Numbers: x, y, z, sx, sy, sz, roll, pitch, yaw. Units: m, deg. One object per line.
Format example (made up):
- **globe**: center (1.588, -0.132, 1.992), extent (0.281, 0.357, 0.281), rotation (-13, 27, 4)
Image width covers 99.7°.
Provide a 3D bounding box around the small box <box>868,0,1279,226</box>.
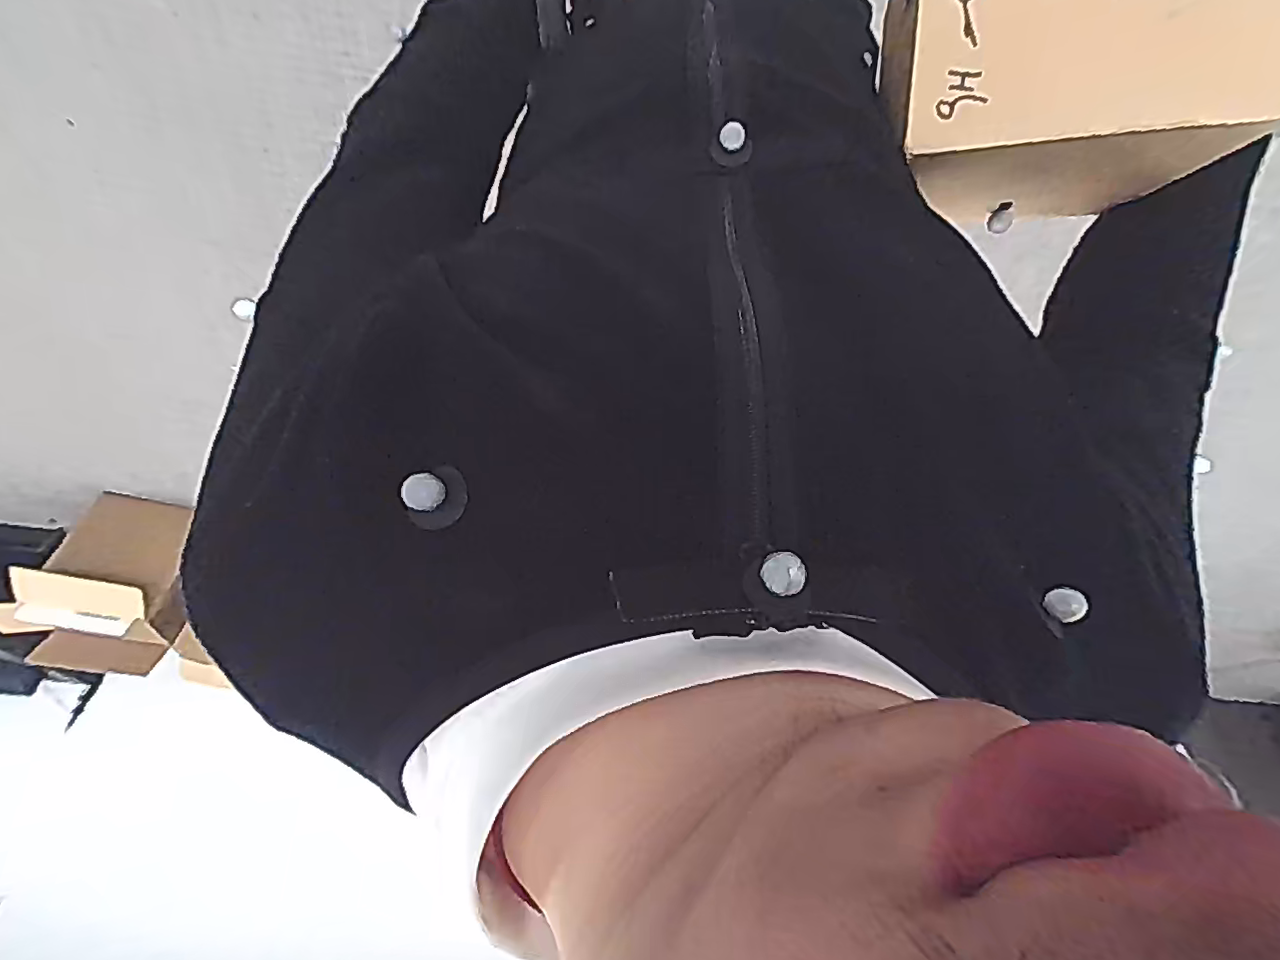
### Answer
- **small box**: center (0.263, -0.280, 0.360), extent (0.179, 0.176, 0.168), rotation (3, 101, 15)
